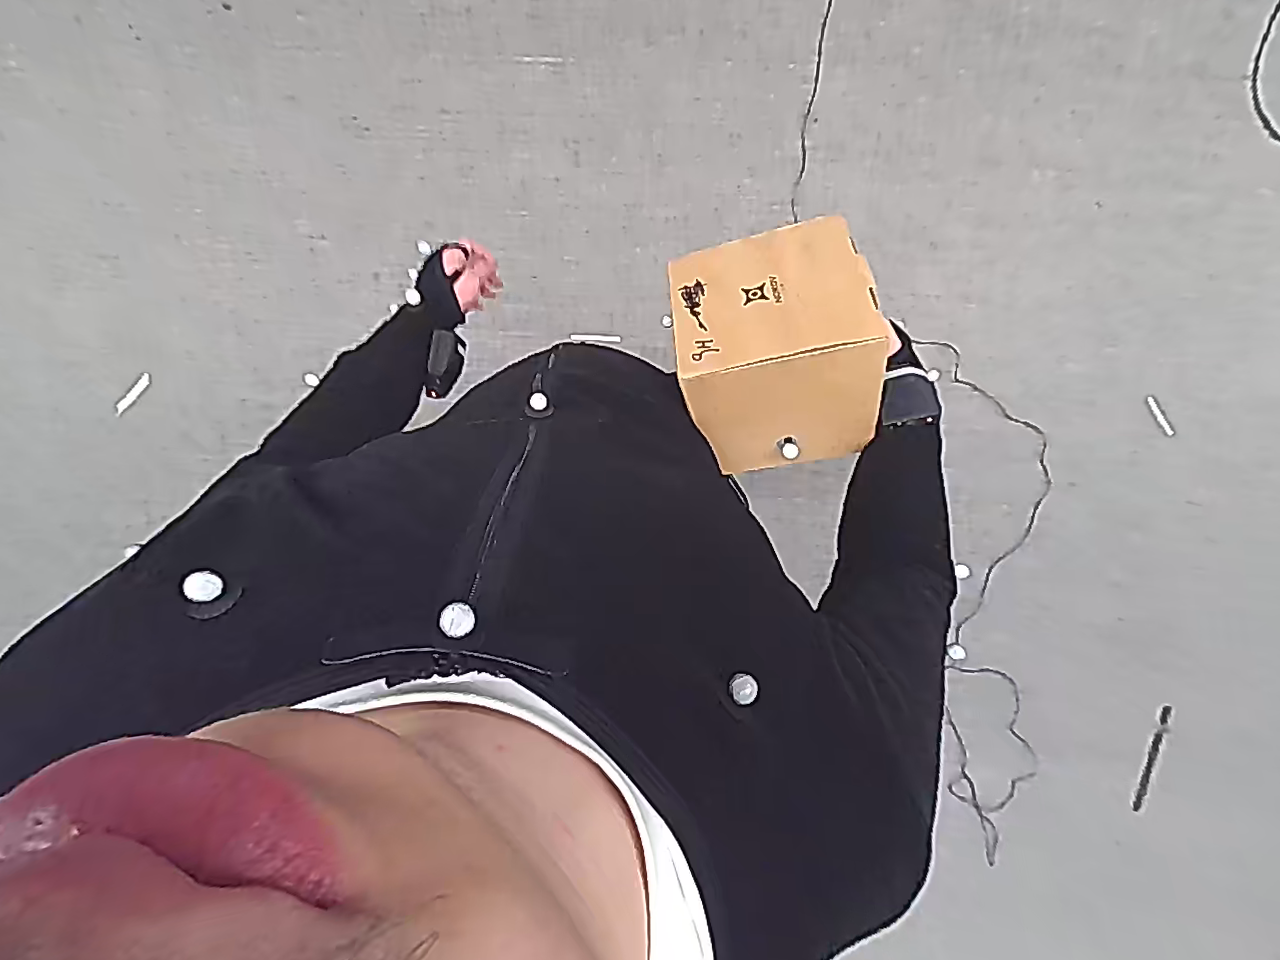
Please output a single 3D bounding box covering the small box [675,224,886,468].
[{"bbox_3d":[0.142,-0.132,0.579,0.179,0.168,0.176,-10,147,12],"label":"small box"}]
